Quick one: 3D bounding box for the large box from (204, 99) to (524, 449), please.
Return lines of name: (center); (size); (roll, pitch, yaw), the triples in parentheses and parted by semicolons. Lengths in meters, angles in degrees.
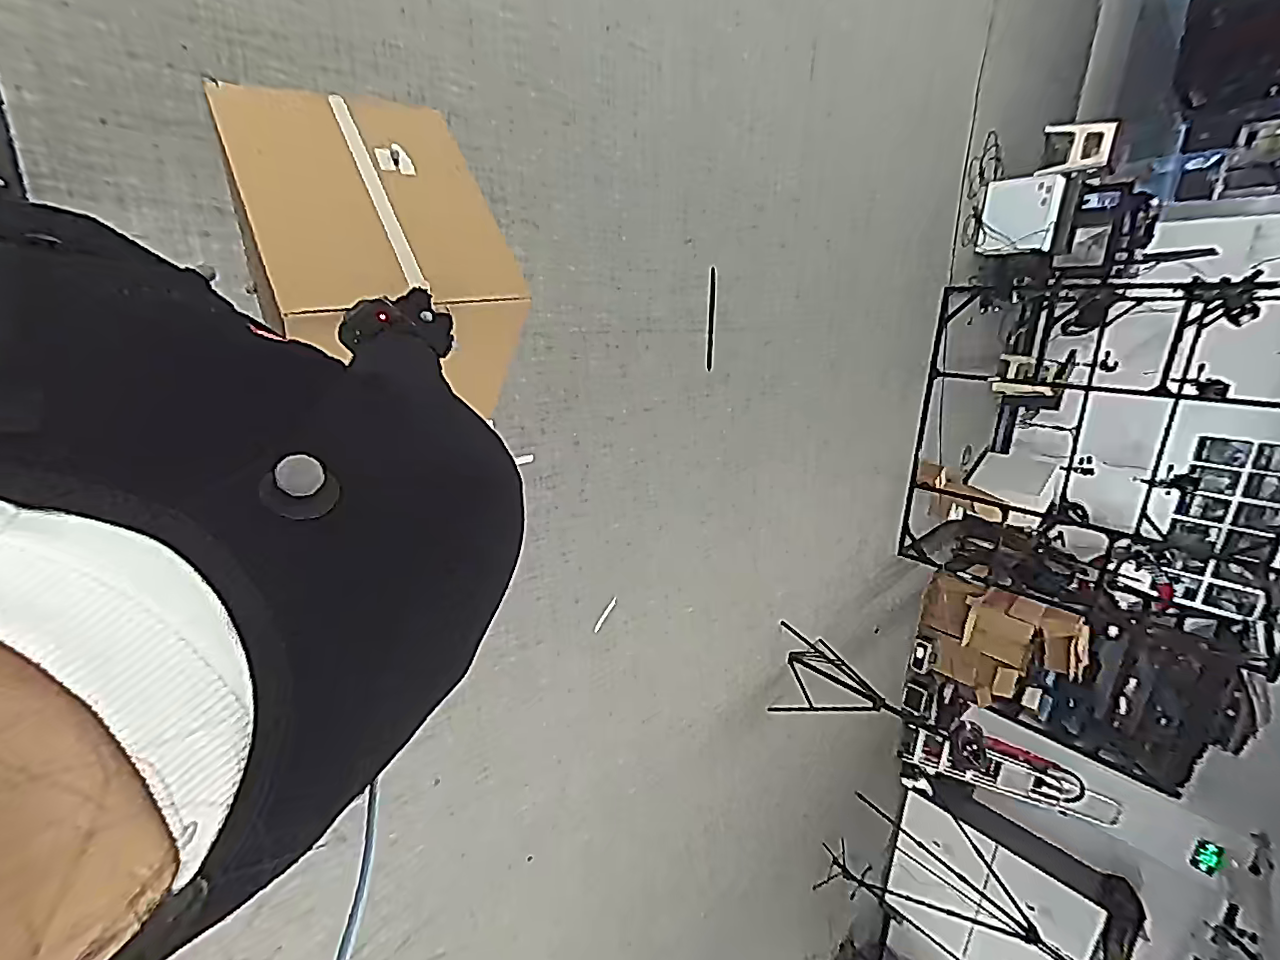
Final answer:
large box: (-0.438, -0.318, 0.879); (0.320, 0.408, 0.320); (-17, 159, -35)
